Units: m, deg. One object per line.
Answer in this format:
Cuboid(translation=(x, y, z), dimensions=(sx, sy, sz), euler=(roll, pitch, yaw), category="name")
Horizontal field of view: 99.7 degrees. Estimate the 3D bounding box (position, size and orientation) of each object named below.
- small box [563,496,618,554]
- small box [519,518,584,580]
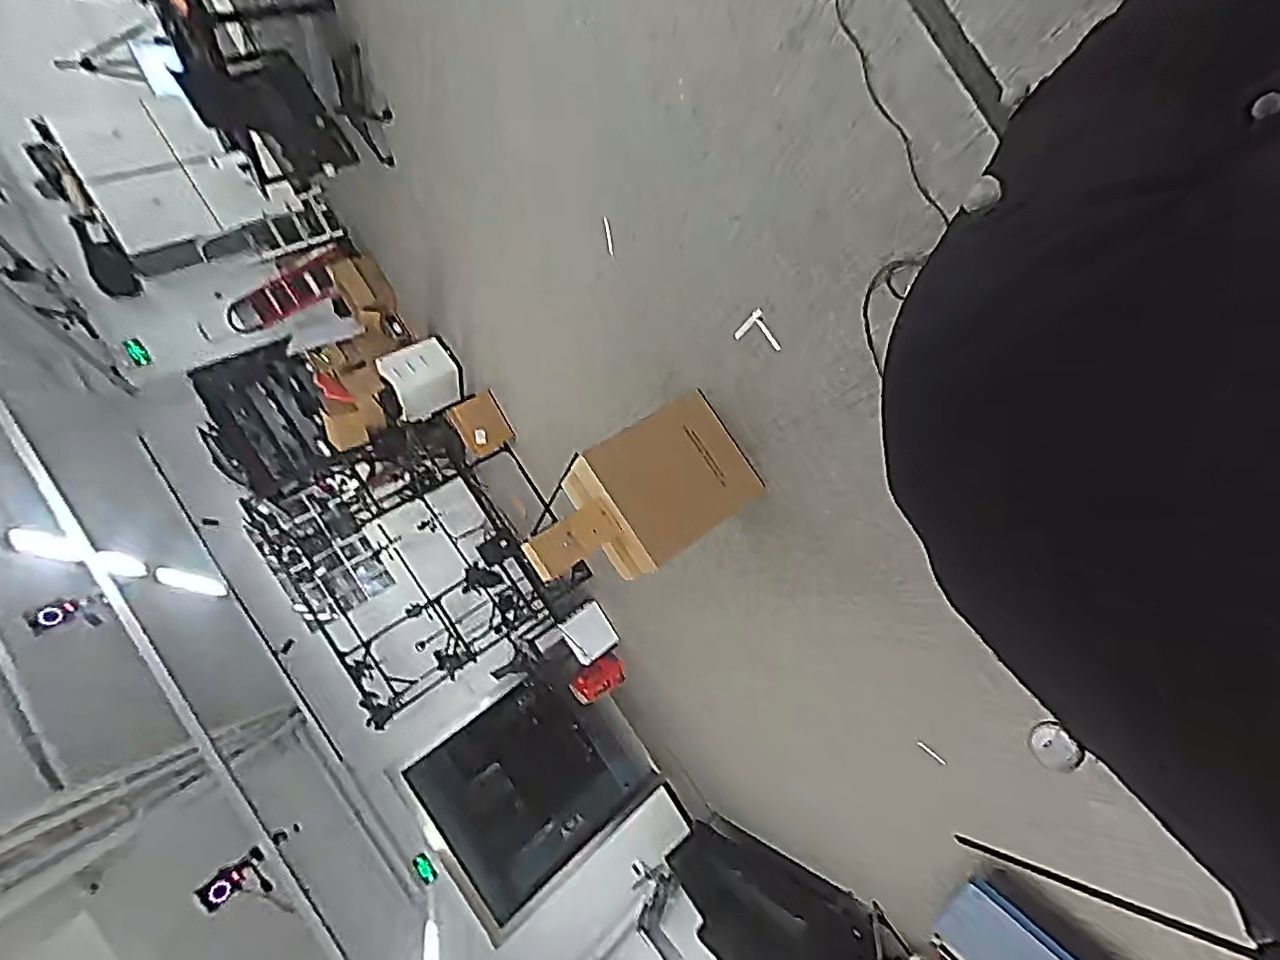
Cuboid(translation=(-0.207, 0.183, 2.125), dimensions=(0.168, 0.176, 0.179), euler=(56, 155, 1), category="small box")
Cuboid(translation=(-0.336, 0.264, 2.061), dimensions=(0.168, 0.176, 0.179), euler=(57, 155, -2), category="small box")
